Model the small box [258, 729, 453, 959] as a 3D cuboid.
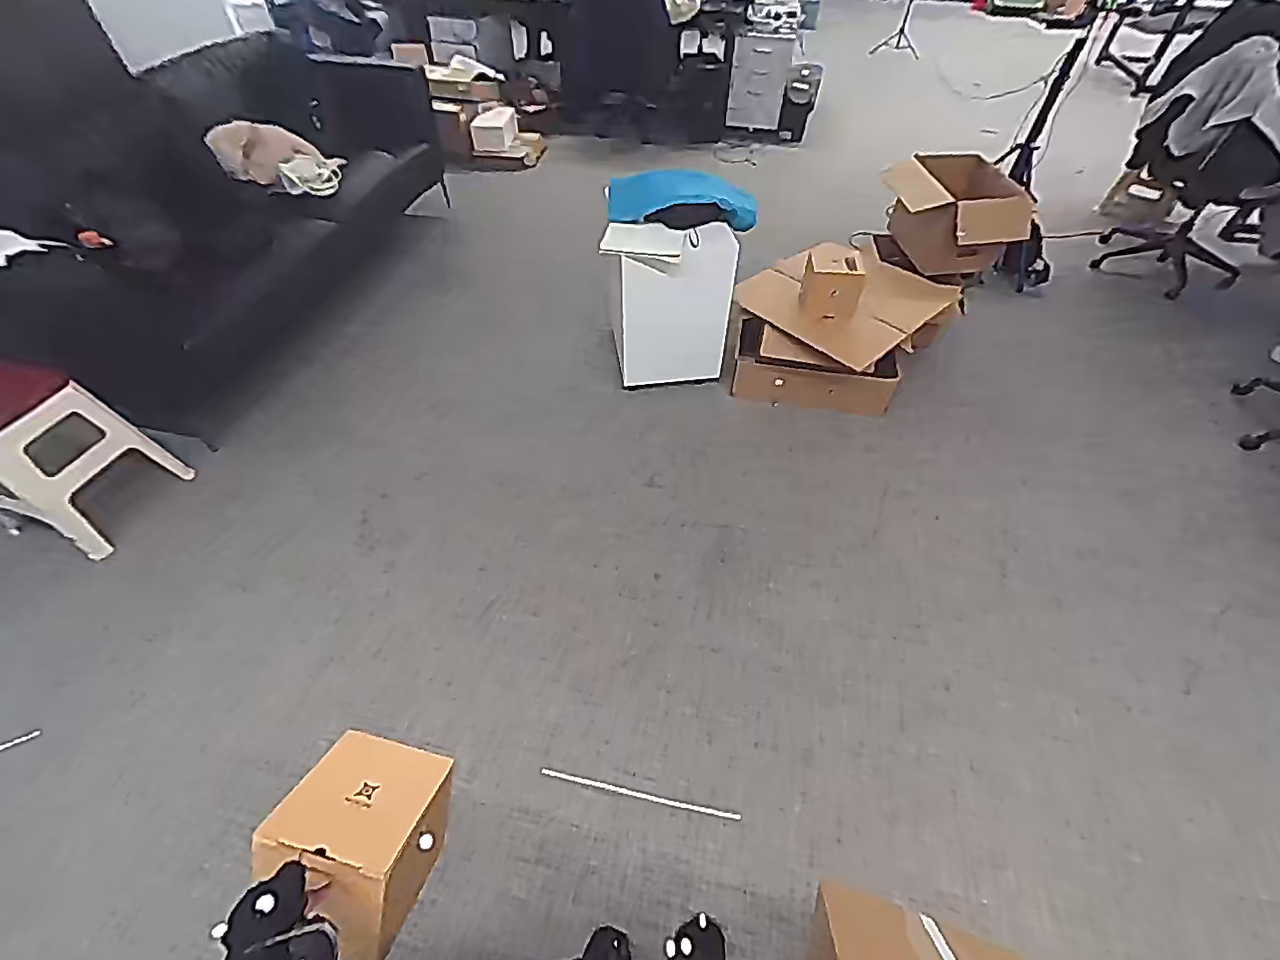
[{"bbox_3d":[-0.375,0.481,0.725,0.168,0.176,0.179,14,19,4],"label":"small box"}]
